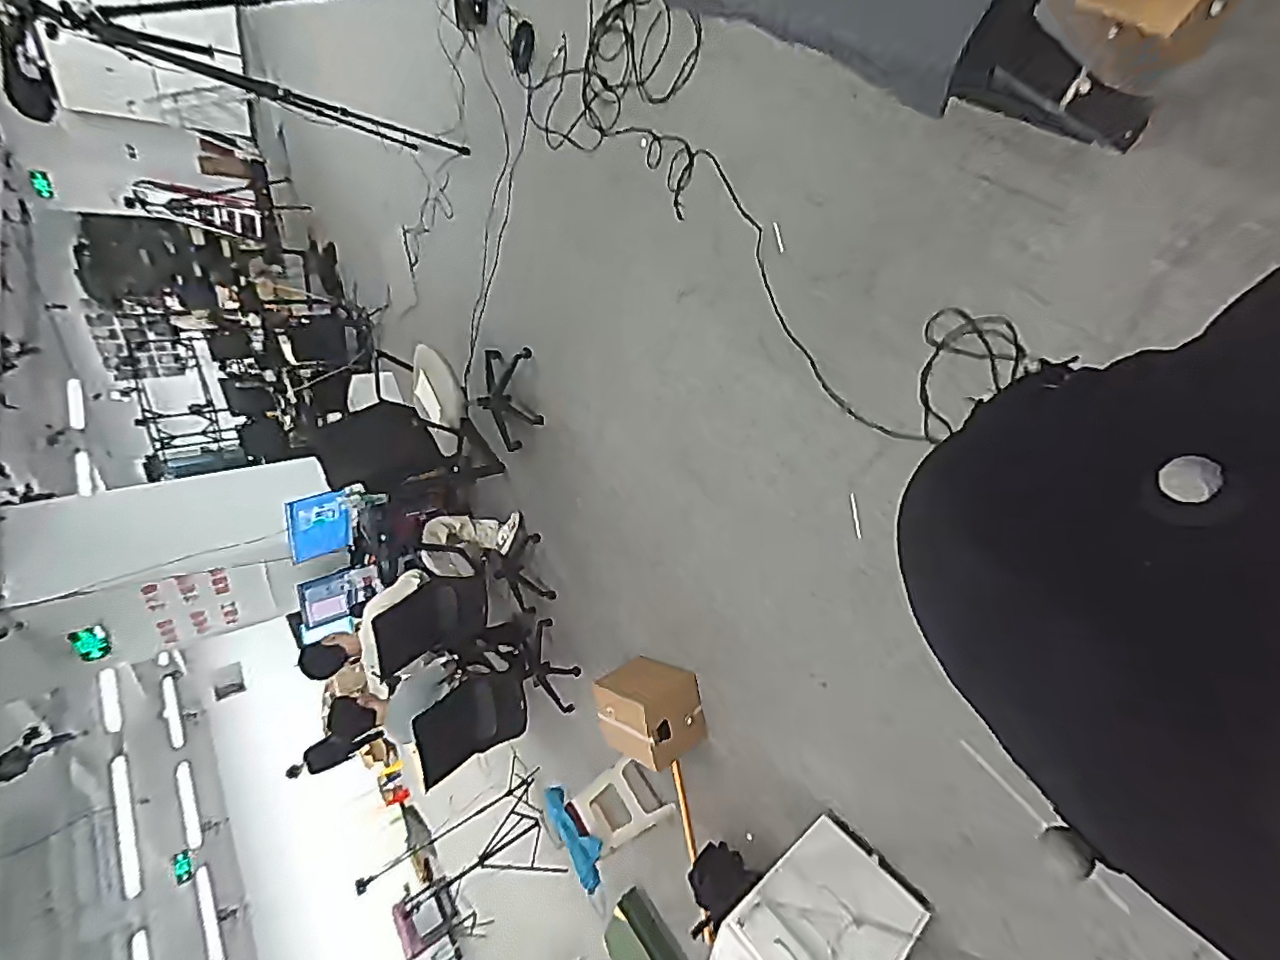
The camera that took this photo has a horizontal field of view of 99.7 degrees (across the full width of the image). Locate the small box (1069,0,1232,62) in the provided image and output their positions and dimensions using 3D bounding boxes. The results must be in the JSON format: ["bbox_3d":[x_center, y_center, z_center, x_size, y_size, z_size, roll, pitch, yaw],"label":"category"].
[{"bbox_3d":[0.887,-0.837,0.906,0.179,0.176,0.168,52,138,26],"label":"small box"}]
